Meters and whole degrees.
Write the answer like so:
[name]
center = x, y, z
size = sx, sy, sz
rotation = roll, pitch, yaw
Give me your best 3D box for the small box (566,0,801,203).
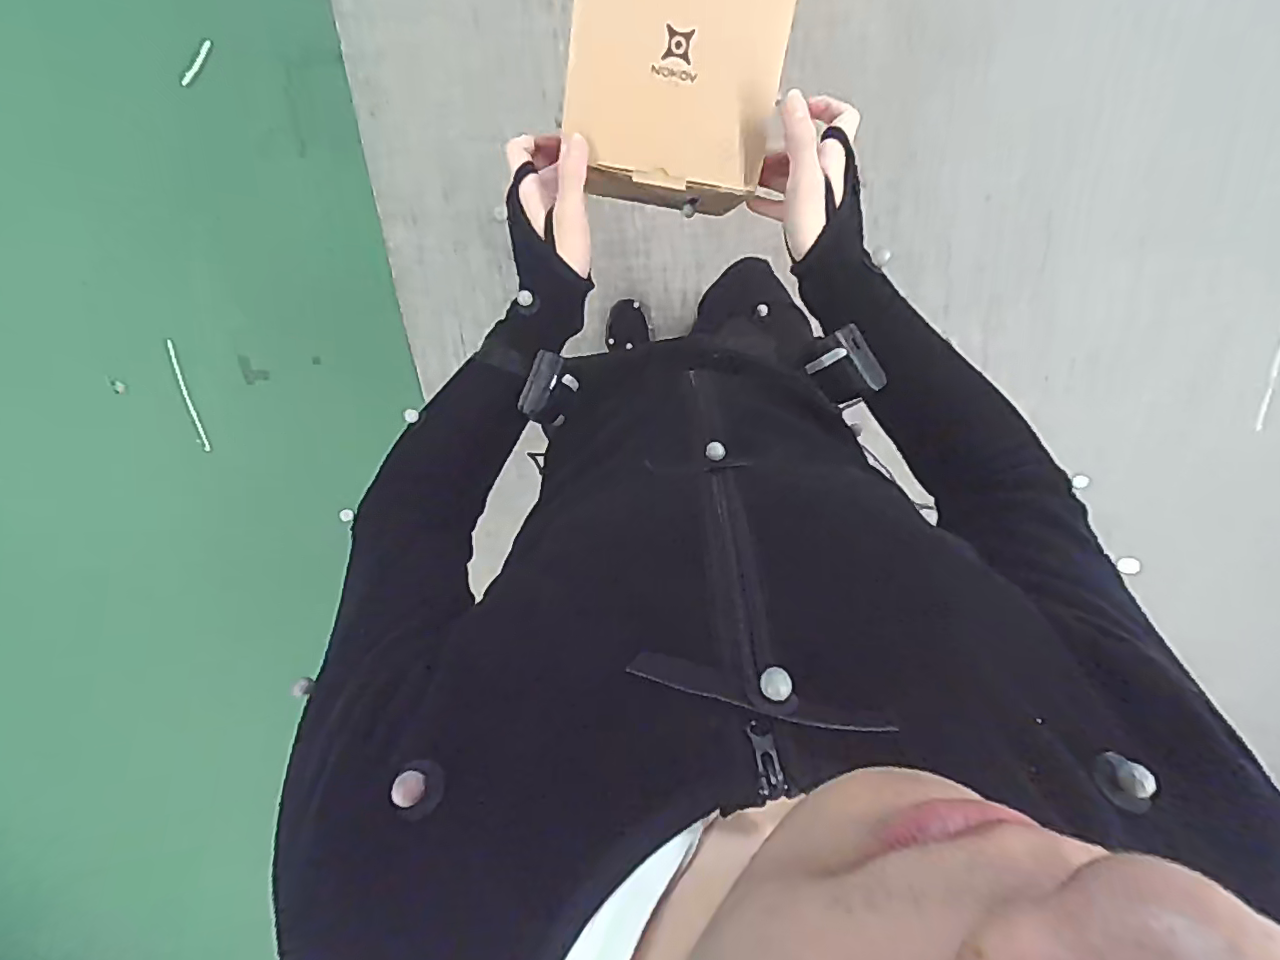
[small box]
center = 0.030, -0.366, 0.492
size = 0.168, 0.176, 0.179
rotation = 8, 111, -8
